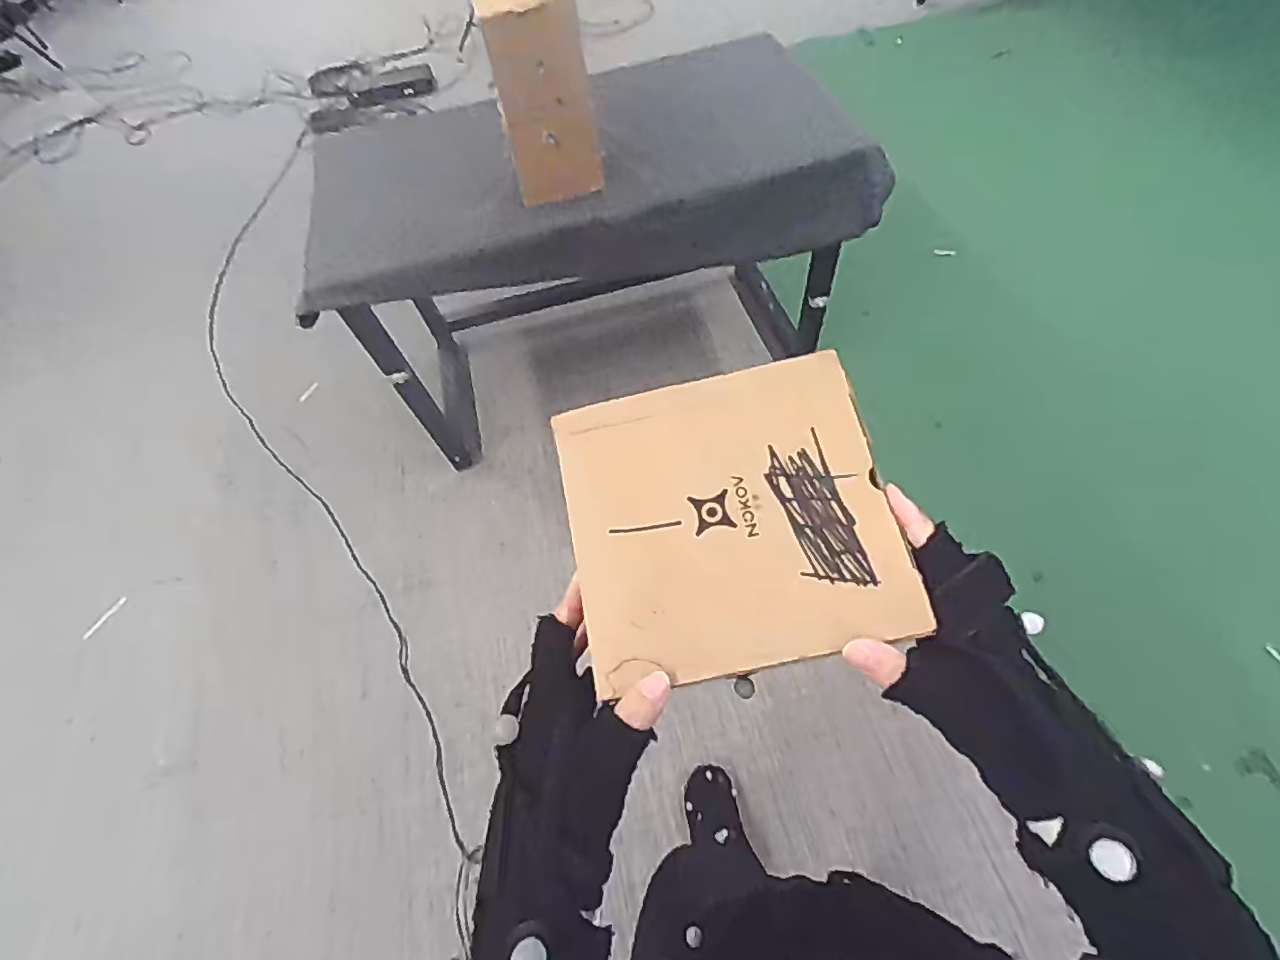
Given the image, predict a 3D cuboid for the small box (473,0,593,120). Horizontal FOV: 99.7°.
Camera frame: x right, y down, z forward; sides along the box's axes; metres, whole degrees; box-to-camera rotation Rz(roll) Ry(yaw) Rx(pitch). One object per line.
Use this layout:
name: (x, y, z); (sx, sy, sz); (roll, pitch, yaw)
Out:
small box: (-0.191, -0.782, 0.976); (0.168, 0.176, 0.179); (-16, 60, -3)

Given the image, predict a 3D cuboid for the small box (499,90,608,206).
small box: (-0.175, -0.696, 1.114); (0.179, 0.176, 0.168); (-14, 60, -3)

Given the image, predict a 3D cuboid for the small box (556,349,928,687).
small box: (0.054, 0.038, 0.374); (0.179, 0.176, 0.168); (-12, 70, 1)
